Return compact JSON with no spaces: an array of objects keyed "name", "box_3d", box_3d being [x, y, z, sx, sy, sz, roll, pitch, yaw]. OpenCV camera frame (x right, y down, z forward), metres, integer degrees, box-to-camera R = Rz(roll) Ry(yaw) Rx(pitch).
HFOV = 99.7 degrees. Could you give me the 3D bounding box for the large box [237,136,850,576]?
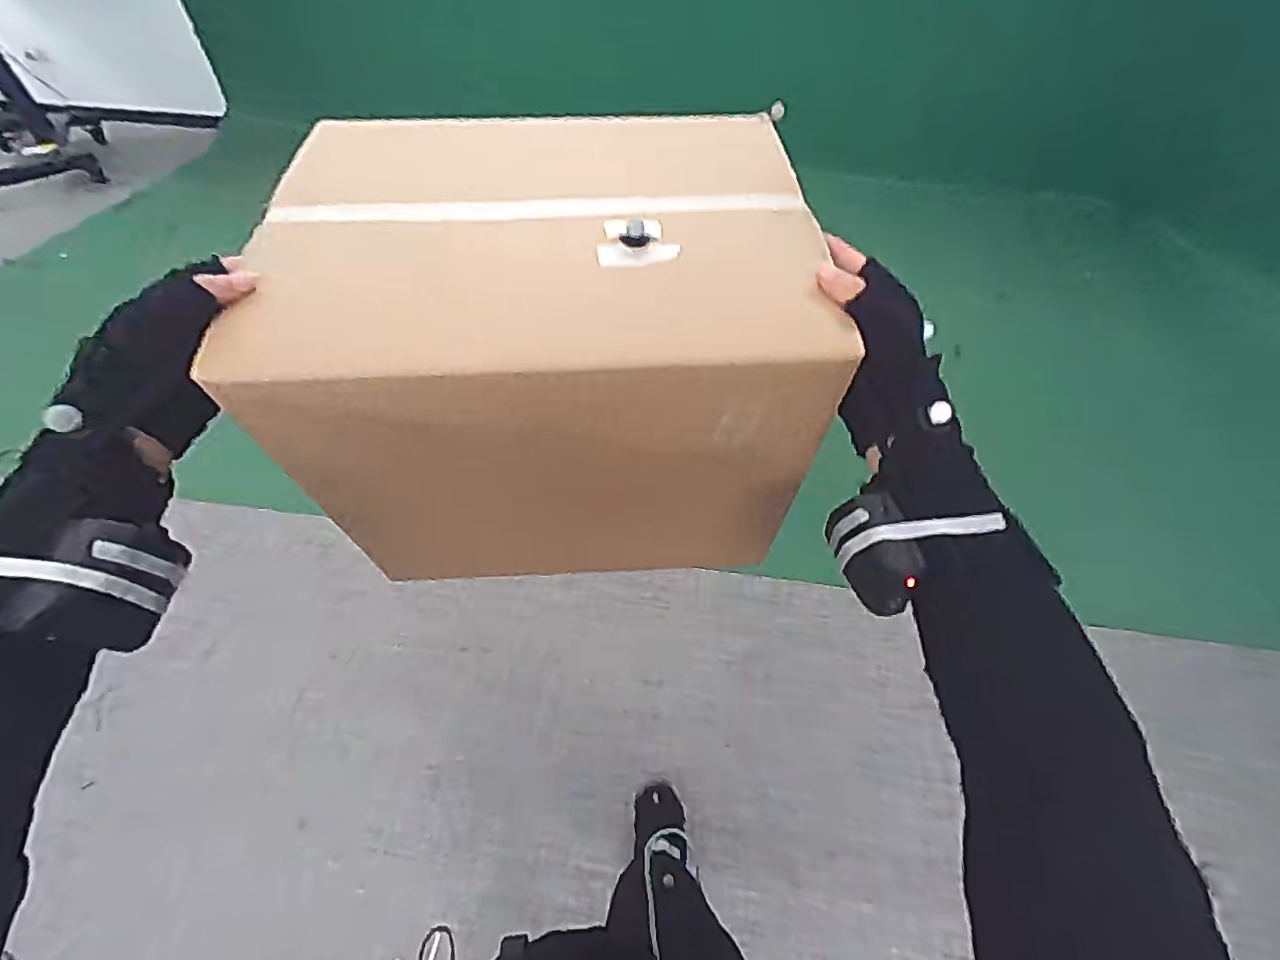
[{"name":"large box","box_3d":[-0.072,-0.113,0.551,0.408,0.320,0.320,-3,58,-4]}]
